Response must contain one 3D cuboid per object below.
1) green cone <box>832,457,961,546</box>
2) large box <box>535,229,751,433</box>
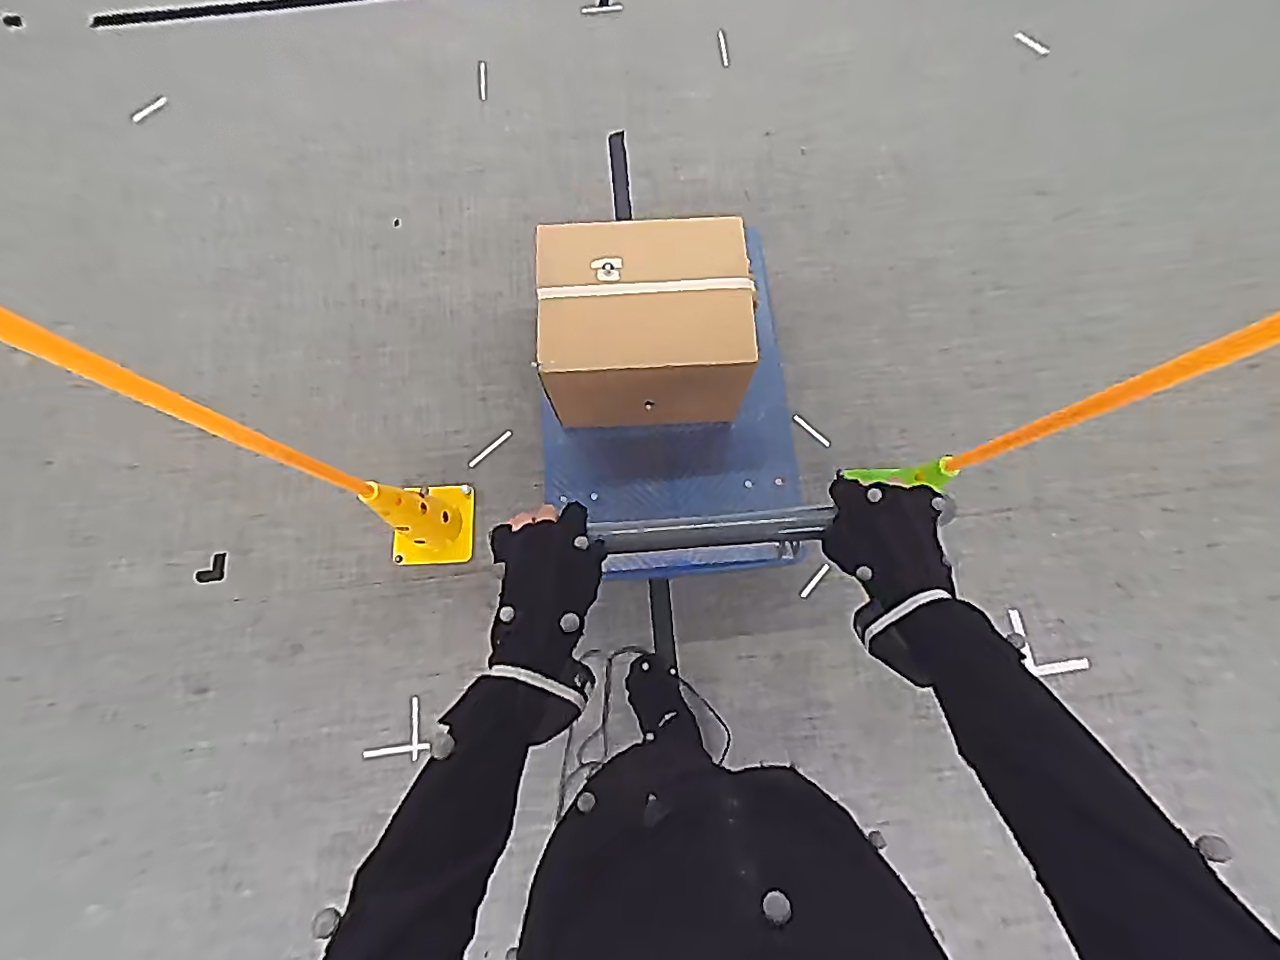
[{"bbox_3d":[0.602,0.025,1.227,0.202,0.368,0.200,-2,75,-1],"label":"green cone"},{"bbox_3d":[0.004,-0.301,1.178,0.408,0.320,0.320,-3,76,1],"label":"large box"}]
